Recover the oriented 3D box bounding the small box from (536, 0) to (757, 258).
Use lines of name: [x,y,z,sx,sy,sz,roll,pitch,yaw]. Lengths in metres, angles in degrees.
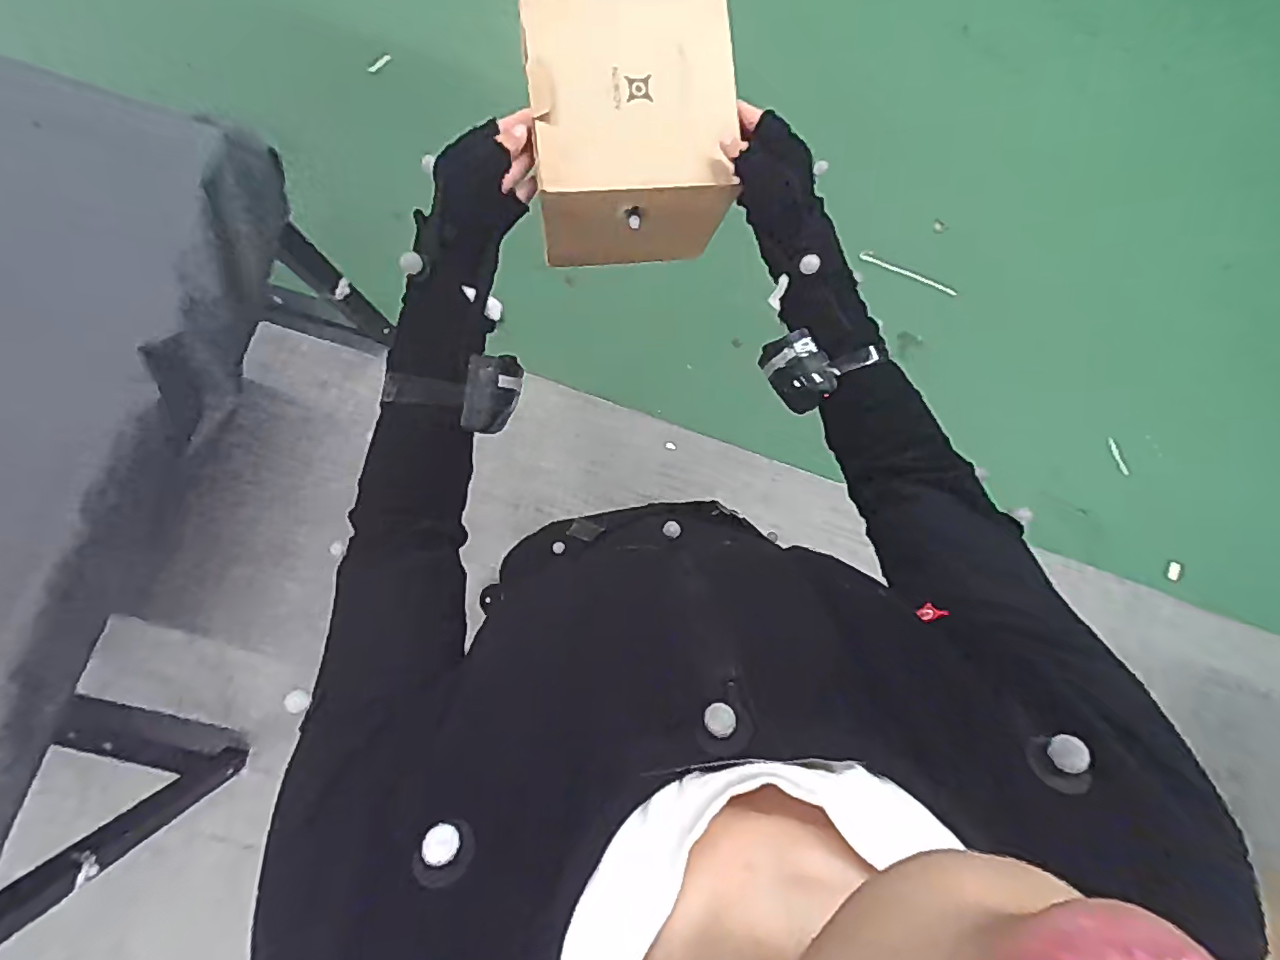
small box: [-0.002,-0.331,0.530,0.179,0.176,0.168,-6,93,-8]
